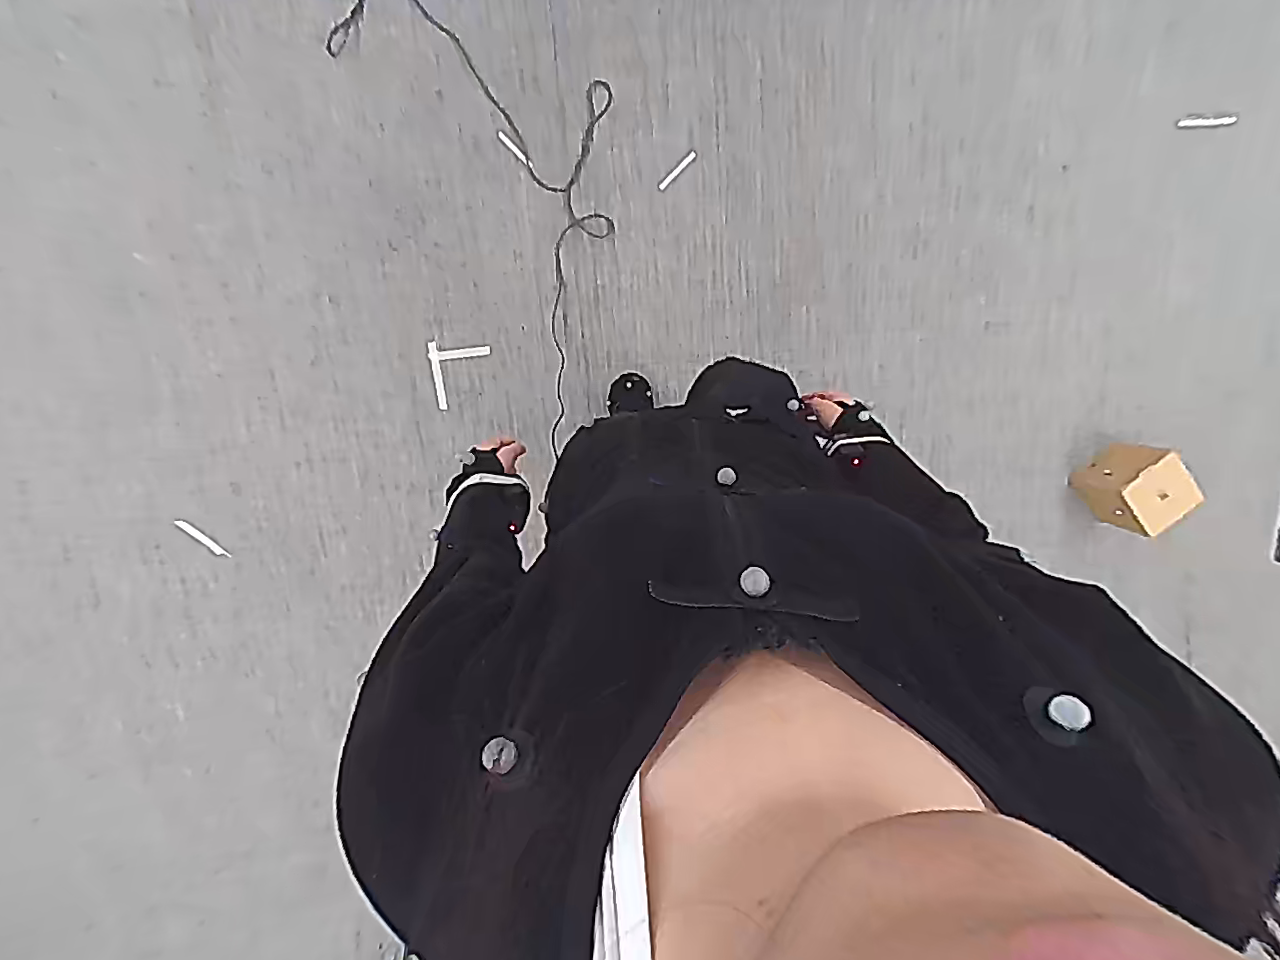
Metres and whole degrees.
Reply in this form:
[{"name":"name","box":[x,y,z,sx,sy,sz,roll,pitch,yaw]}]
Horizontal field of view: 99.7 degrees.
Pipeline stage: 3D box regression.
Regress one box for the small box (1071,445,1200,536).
[{"name":"small box","box":[1.349,0.019,1.485,0.168,0.176,0.179,-41,102,7]}]
